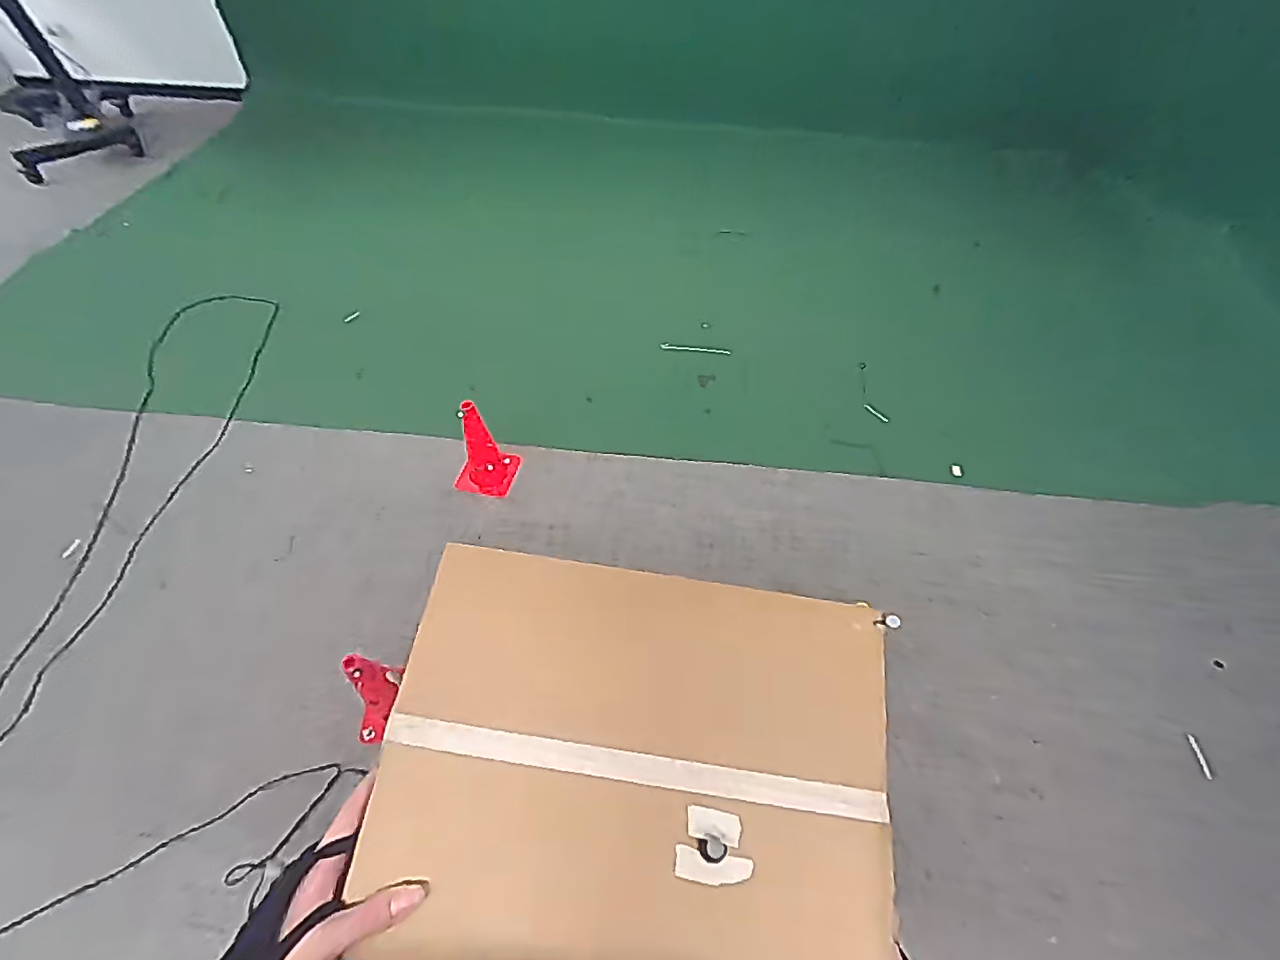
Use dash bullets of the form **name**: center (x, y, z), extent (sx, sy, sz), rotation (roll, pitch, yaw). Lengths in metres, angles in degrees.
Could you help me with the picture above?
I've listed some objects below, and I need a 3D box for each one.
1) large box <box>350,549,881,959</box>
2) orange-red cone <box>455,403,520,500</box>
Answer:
- **large box**: center (-0.007, 0.287, 0.589), extent (0.408, 0.320, 0.320), rotation (9, 68, 1)
- **orange-red cone**: center (-0.562, -0.122, 1.865), extent (0.199, 0.360, 0.198), rotation (11, 52, 8)
